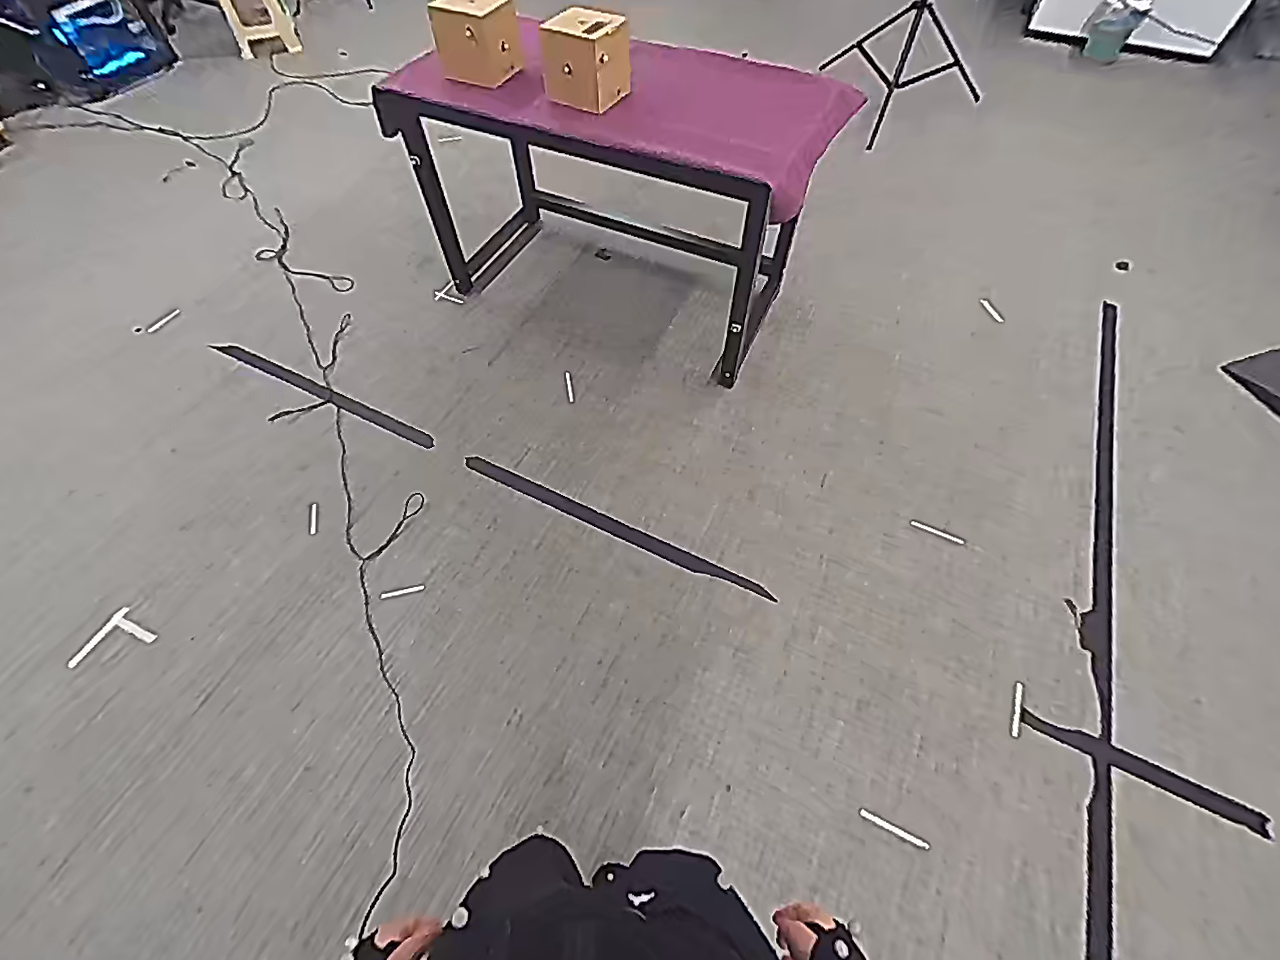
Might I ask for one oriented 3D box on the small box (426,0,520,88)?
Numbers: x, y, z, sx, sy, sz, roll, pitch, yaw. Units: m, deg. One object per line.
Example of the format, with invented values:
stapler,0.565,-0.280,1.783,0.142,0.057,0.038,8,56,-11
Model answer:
small box,-0.459,-1.239,1.525,0.179,0.176,0.168,20,58,12
